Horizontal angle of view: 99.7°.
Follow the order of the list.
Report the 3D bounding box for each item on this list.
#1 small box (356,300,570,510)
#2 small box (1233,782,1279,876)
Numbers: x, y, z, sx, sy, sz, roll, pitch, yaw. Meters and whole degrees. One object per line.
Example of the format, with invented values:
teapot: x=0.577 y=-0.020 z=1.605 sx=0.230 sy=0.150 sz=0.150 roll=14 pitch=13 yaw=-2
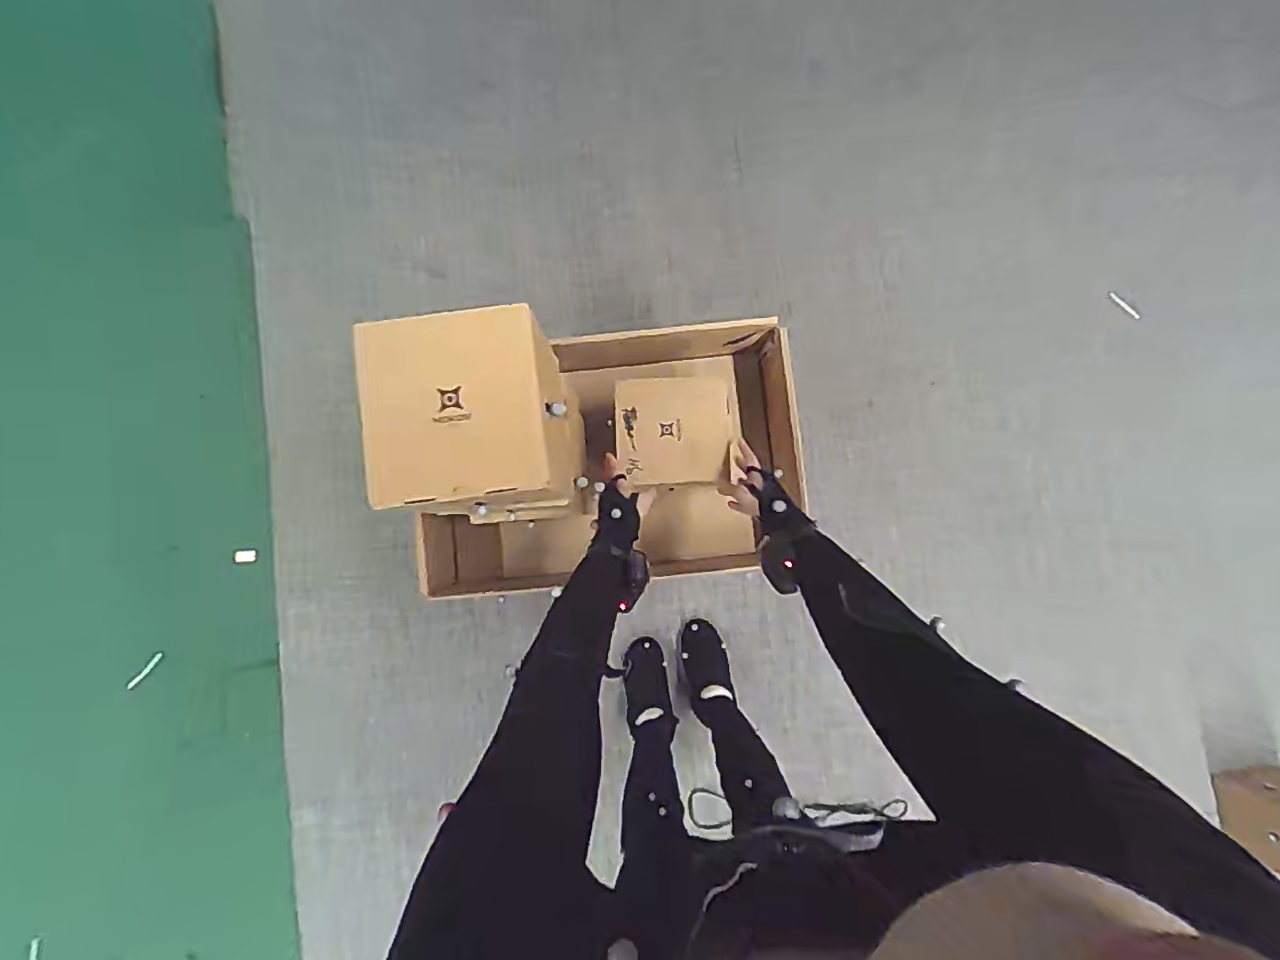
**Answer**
small box: x=-0.172 y=-0.066 z=0.572 sx=0.168 sy=0.176 sz=0.179 roll=-7 pitch=85 yaw=0
small box: x=1.515 y=0.807 z=1.222 sx=0.168 sy=0.176 sz=0.179 roll=-8 pitch=85 yaw=0
